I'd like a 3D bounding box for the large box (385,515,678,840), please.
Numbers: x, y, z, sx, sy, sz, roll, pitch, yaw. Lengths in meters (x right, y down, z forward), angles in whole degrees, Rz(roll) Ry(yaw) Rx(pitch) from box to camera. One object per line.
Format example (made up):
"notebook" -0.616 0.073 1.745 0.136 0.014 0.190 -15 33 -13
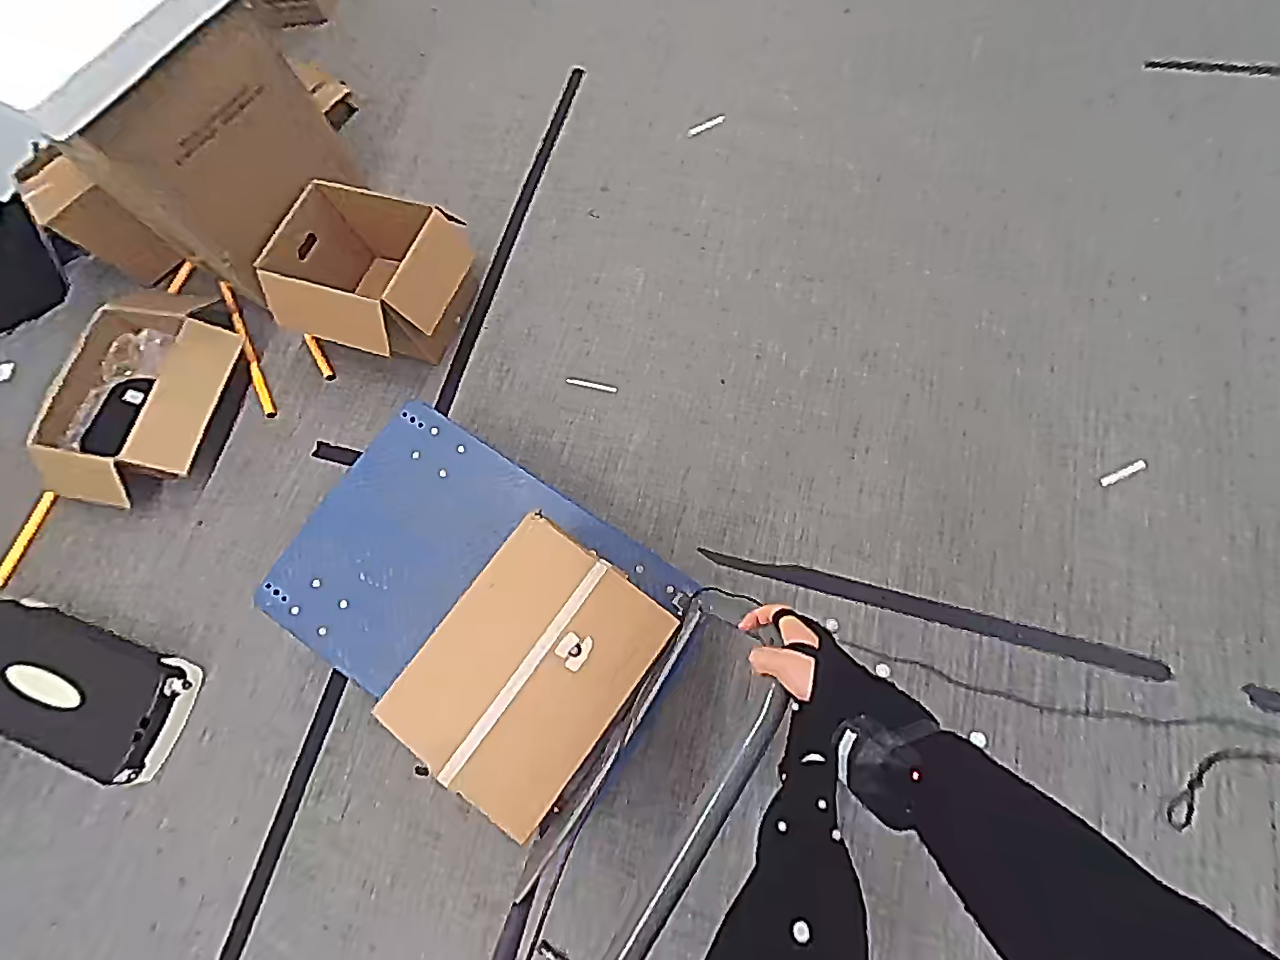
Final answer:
"large box" -0.168 0.338 1.011 0.320 0.320 0.408 35 79 8
